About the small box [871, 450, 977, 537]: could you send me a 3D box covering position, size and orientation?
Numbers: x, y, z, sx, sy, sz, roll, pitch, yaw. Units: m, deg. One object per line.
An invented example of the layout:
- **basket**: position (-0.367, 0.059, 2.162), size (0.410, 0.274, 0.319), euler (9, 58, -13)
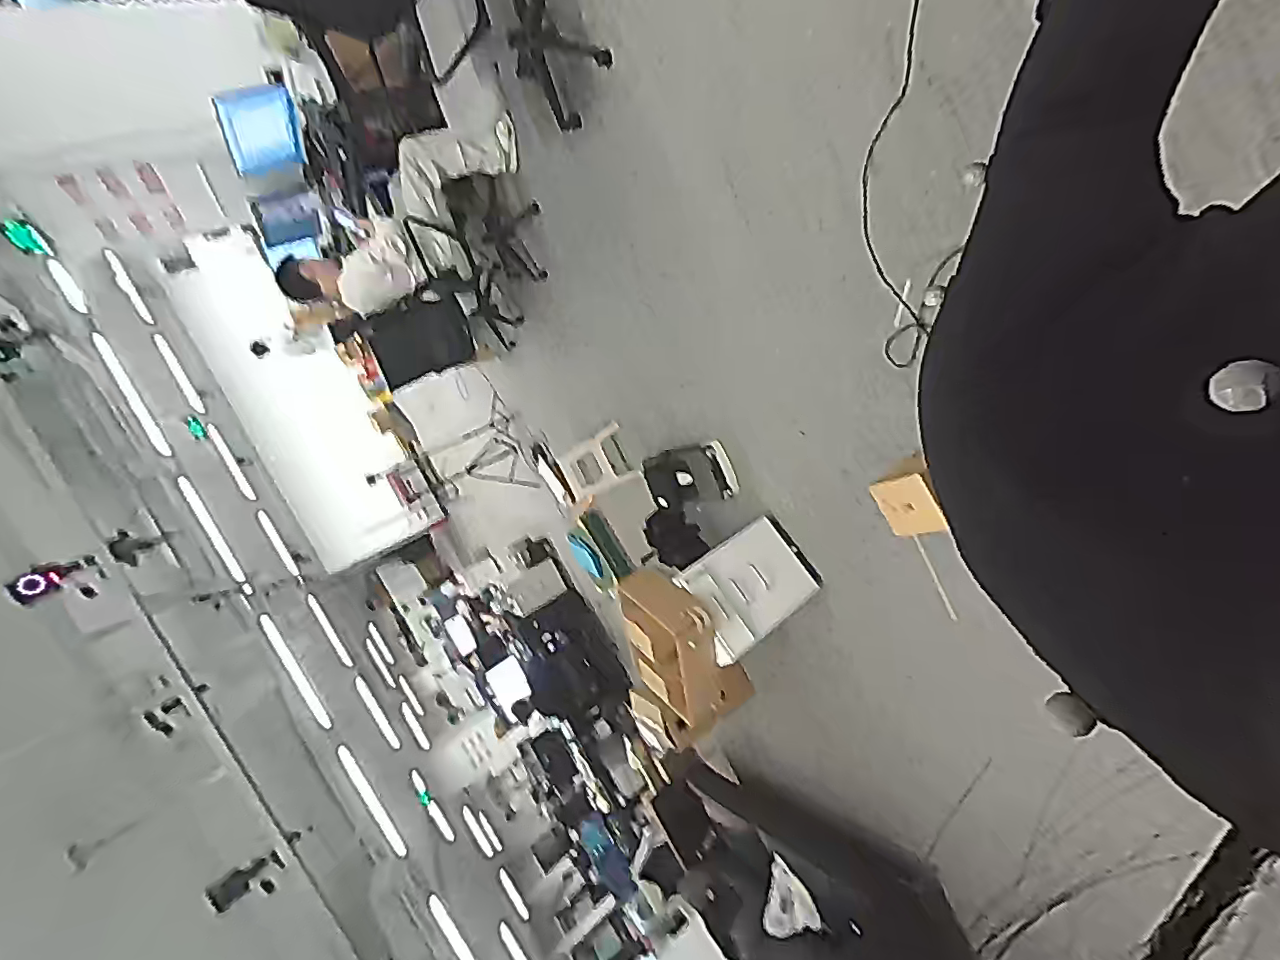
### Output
- **small box**: position (0.788, 0.036, 1.489), size (0.168, 0.176, 0.179), euler (60, 155, -1)
